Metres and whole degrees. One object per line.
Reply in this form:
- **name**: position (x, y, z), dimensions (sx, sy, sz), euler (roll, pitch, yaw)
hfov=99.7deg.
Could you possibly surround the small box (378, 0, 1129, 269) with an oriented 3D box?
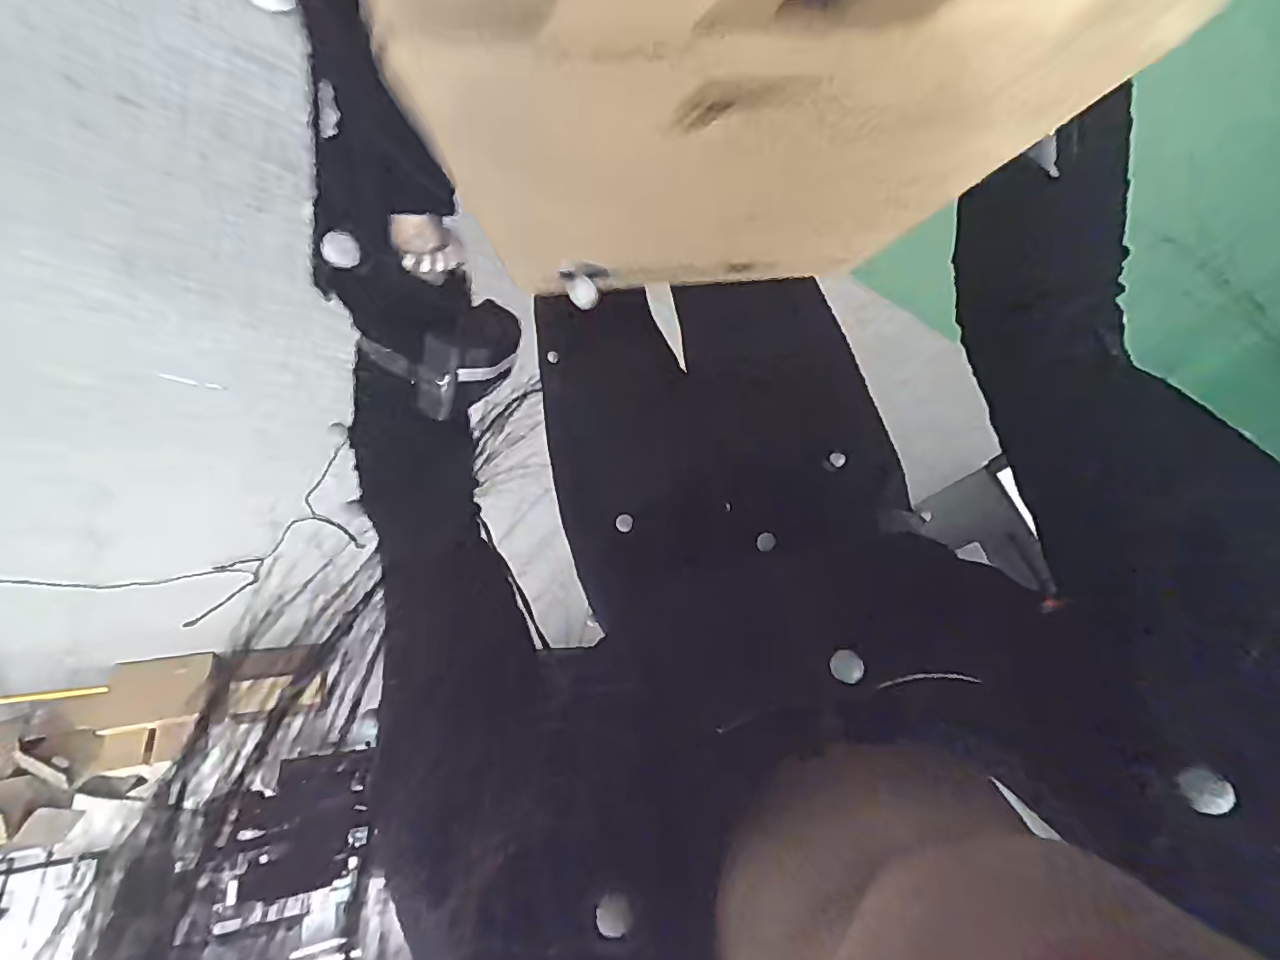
- **small box**: position (0.022, -0.179, 0.187), dimensions (0.168, 0.179, 0.176), euler (-2, -172, -1)
